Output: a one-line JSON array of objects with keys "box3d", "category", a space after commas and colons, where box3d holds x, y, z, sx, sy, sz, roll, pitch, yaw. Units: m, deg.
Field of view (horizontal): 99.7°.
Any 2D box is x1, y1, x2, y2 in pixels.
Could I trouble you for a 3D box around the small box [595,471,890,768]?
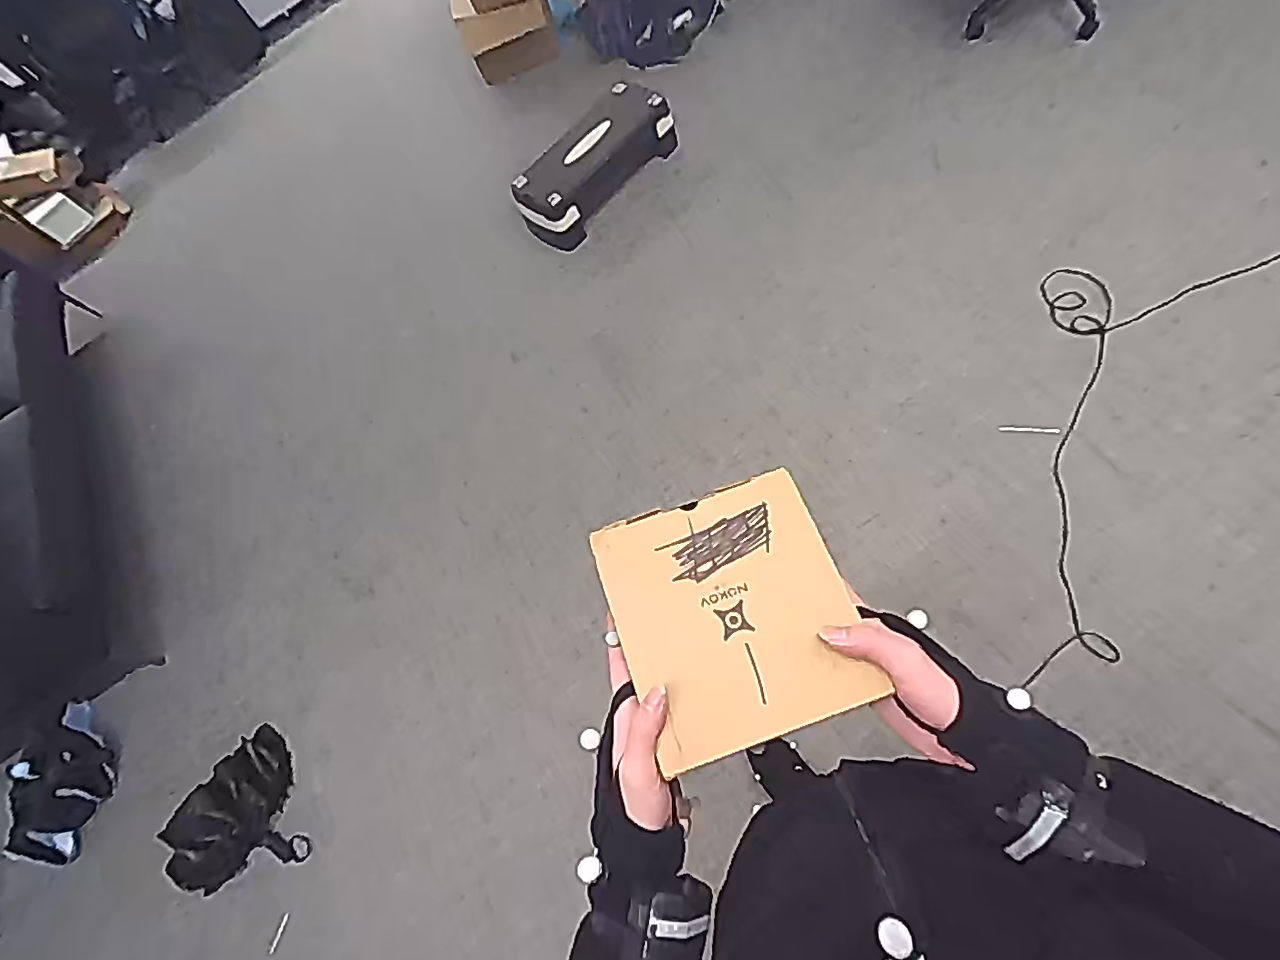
[{"box3d": [0.070, 0.122, 0.462, 0.168, 0.176, 0.179, -19, 67, -3], "category": "small box"}]
